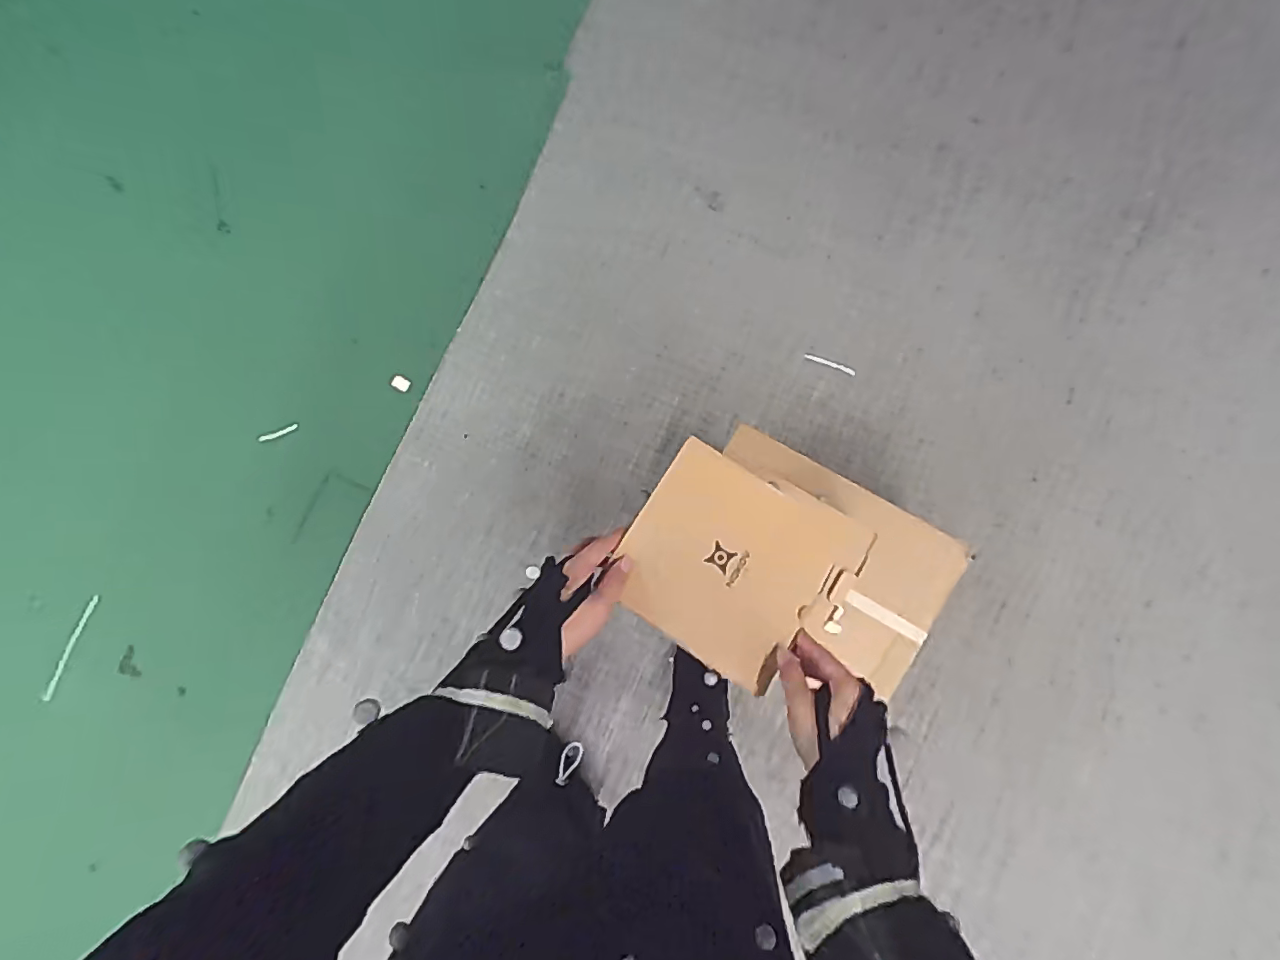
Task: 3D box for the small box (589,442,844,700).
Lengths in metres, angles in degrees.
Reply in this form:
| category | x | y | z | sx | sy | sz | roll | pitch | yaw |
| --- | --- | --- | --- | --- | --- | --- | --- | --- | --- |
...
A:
| category | x | y | z | sx | sy | sz | roll | pitch | yaw |
| --- | --- | --- | --- | --- | --- | --- | --- | --- | --- |
| small box | 0.064 | 0.093 | 0.552 | 0.179 | 0.176 | 0.168 | 33 | 78 | 3 |

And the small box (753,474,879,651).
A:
| category | x | y | z | sx | sy | sz | roll | pitch | yaw |
| --- | --- | --- | --- | --- | --- | --- | --- | --- | --- |
| small box | 0.200 | 0.113 | 0.768 | 0.179 | 0.176 | 0.168 | 32 | 87 | 14 |

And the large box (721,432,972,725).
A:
| category | x | y | z | sx | sy | sz | roll | pitch | yaw |
| --- | --- | --- | --- | --- | --- | --- | --- | --- | --- |
| large box | 0.282 | 0.162 | 0.995 | 0.408 | 0.320 | 0.320 | 31 | 90 | 12 |
